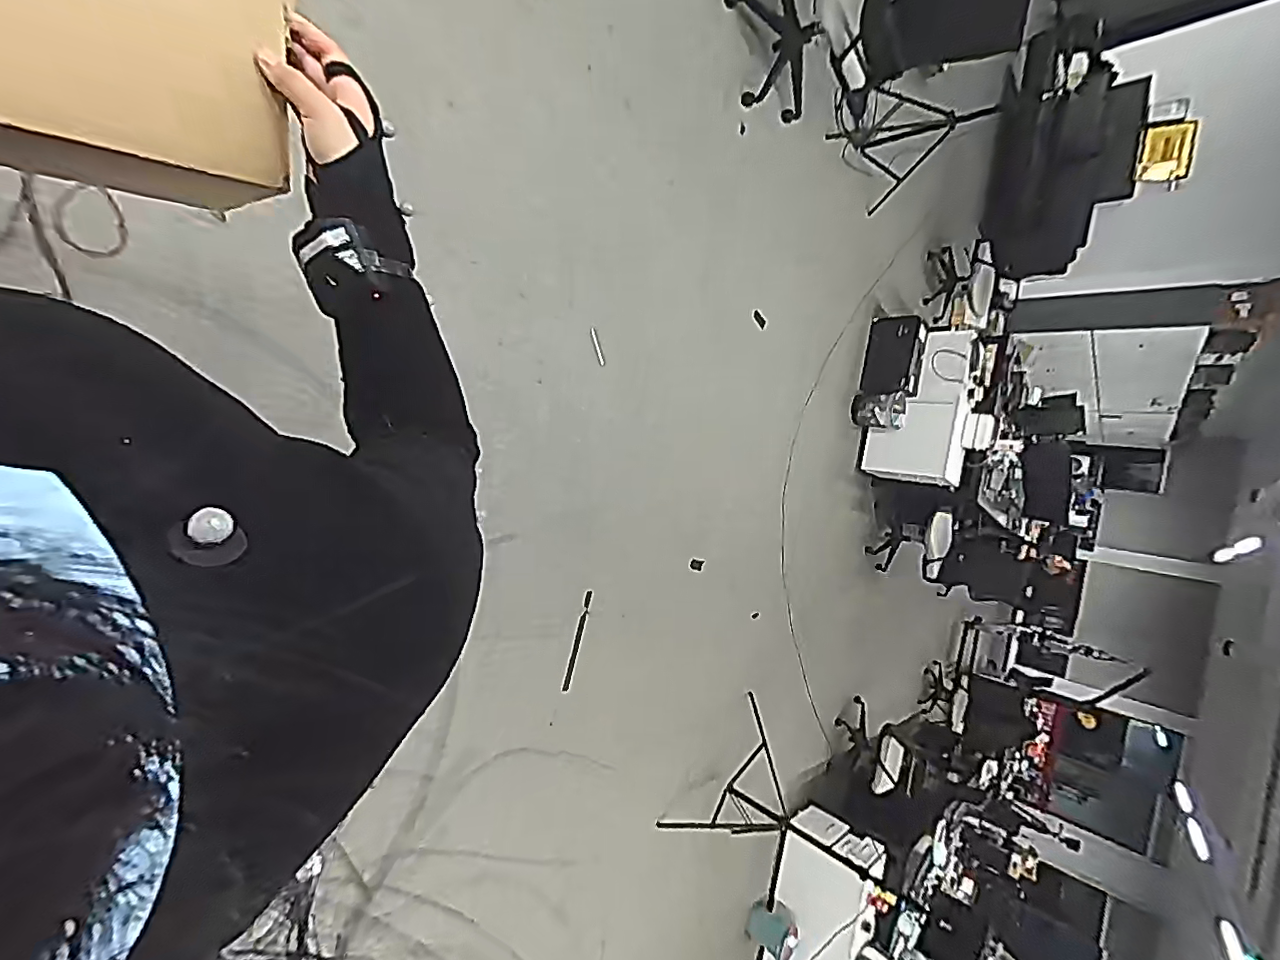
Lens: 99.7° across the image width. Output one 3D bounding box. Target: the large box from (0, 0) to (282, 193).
[{"bbox_3d":[-0.522,-0.420,0.374,0.408,0.320,0.320,-8,110,-43],"label":"large box"}]
